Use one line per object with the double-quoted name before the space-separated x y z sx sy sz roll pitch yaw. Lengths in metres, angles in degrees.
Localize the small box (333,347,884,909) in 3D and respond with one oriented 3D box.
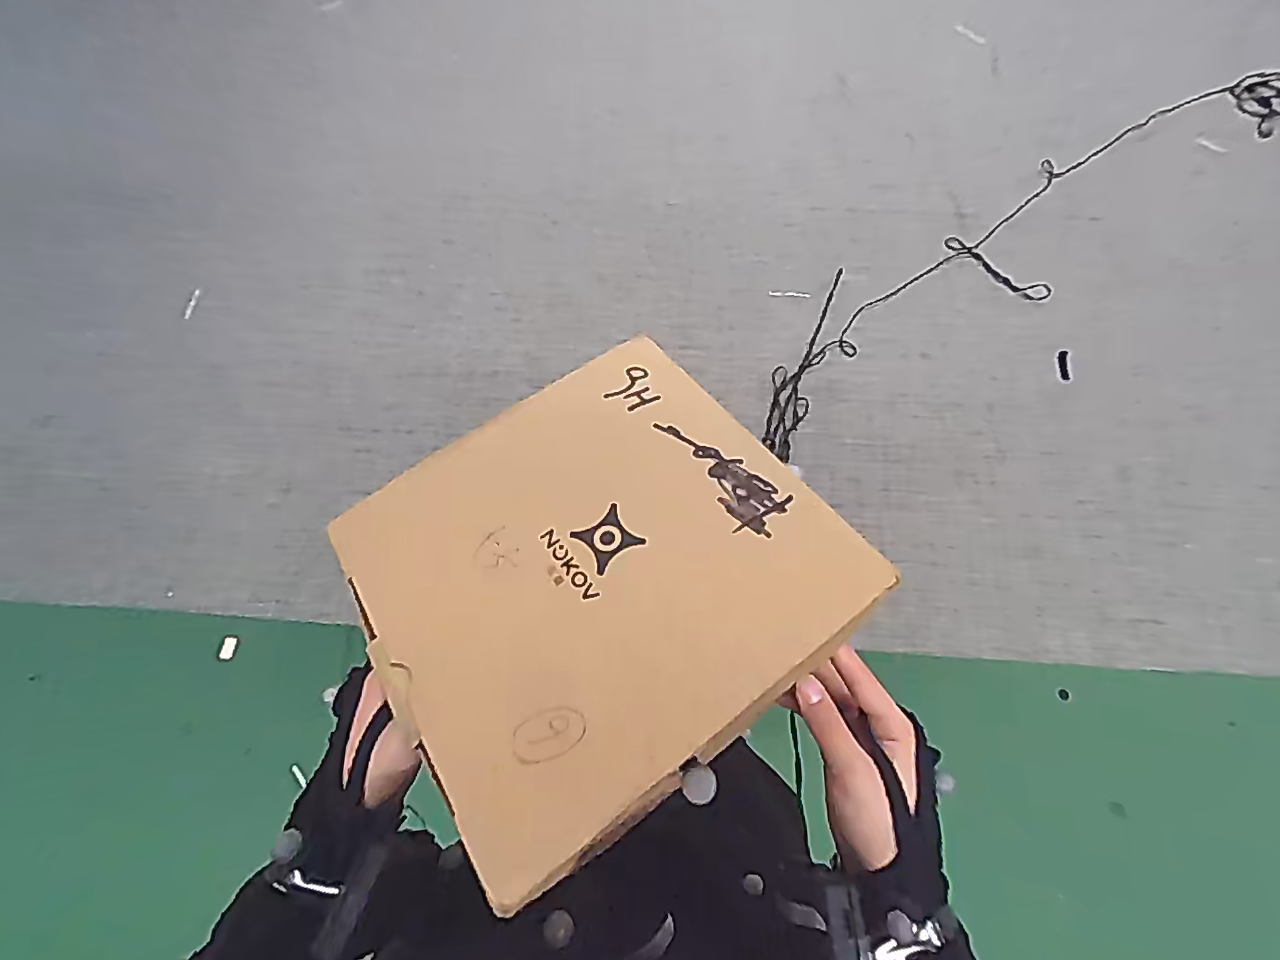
"small box" -0.012 0.073 0.286 0.179 0.176 0.168 -34 61 -12
